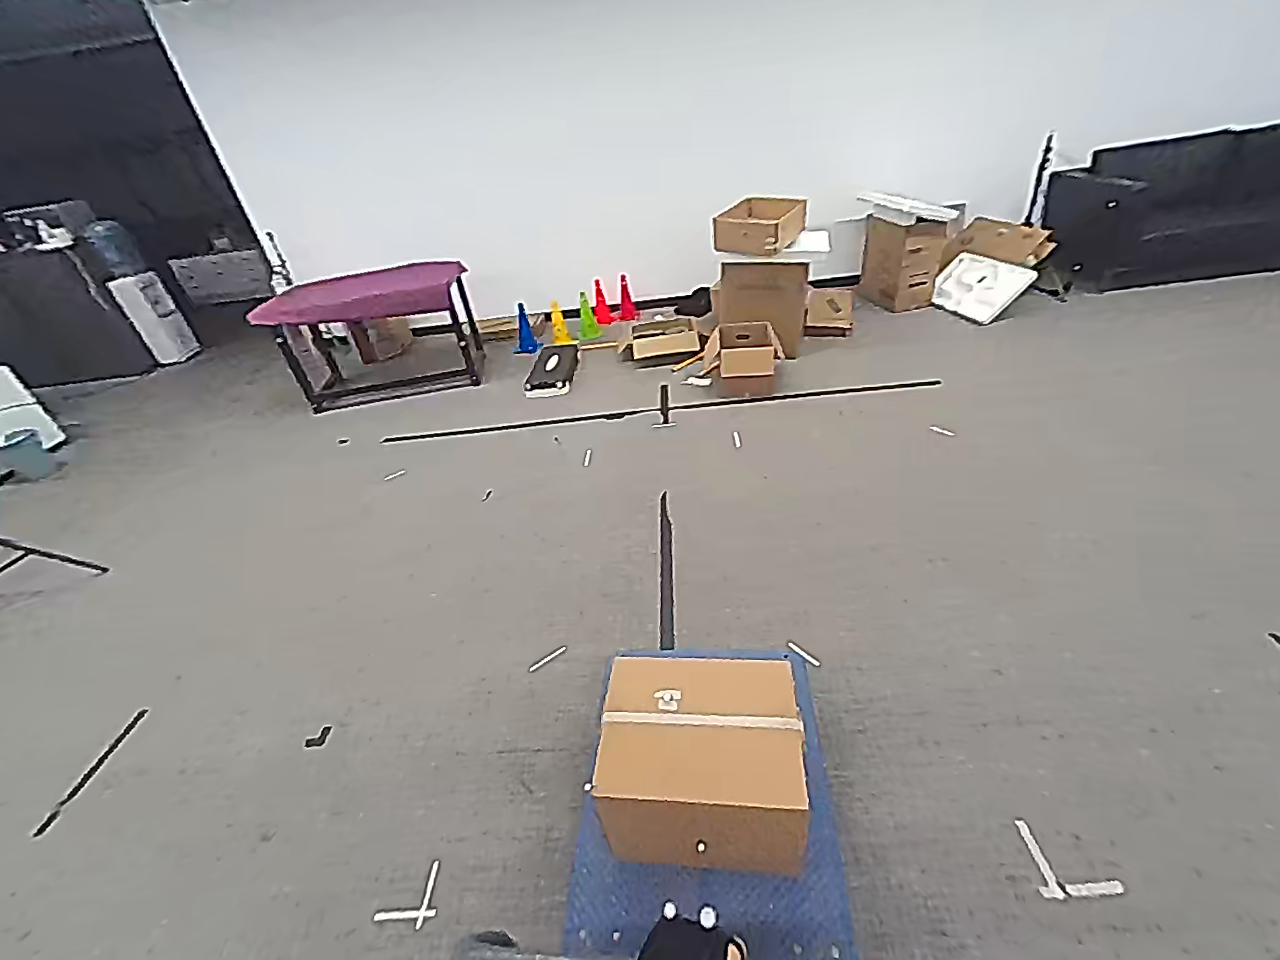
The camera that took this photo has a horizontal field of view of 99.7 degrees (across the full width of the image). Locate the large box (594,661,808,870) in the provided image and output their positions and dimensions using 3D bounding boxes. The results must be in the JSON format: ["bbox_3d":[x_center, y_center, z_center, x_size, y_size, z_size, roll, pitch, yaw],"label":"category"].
[{"bbox_3d":[0.144,0.630,1.208,0.408,0.320,0.320,-3,34,10],"label":"large box"}]
